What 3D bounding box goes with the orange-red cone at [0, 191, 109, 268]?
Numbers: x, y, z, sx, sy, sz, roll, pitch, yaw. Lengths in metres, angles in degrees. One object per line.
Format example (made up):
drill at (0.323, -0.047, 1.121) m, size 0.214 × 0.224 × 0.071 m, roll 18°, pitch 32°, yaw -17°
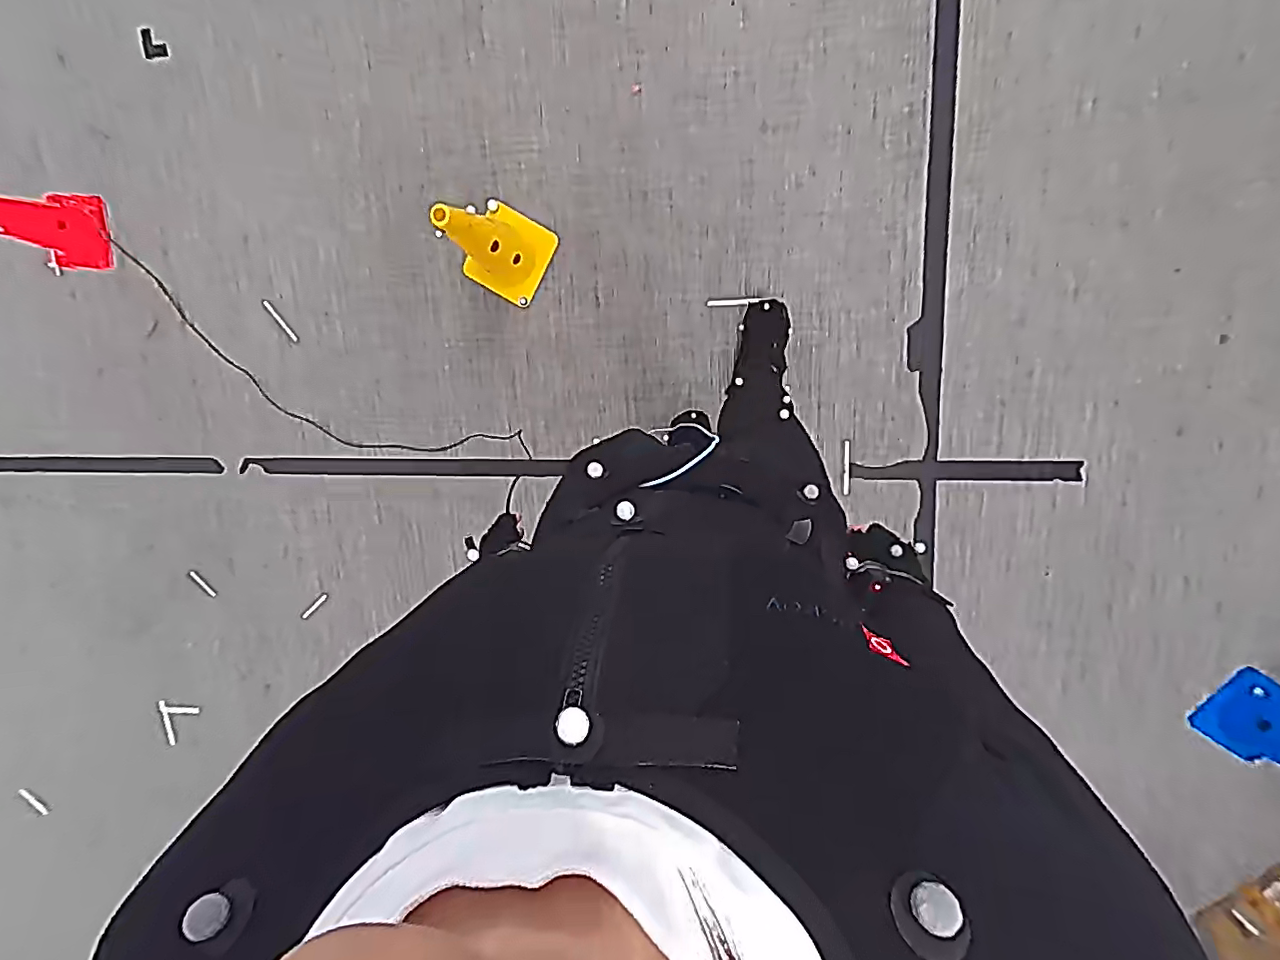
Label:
orange-red cone at (-1.637, -0.681, 1.381) m, size 0.199 × 0.360 × 0.198 m, roll 7°, pitch 103°, yaw 6°
